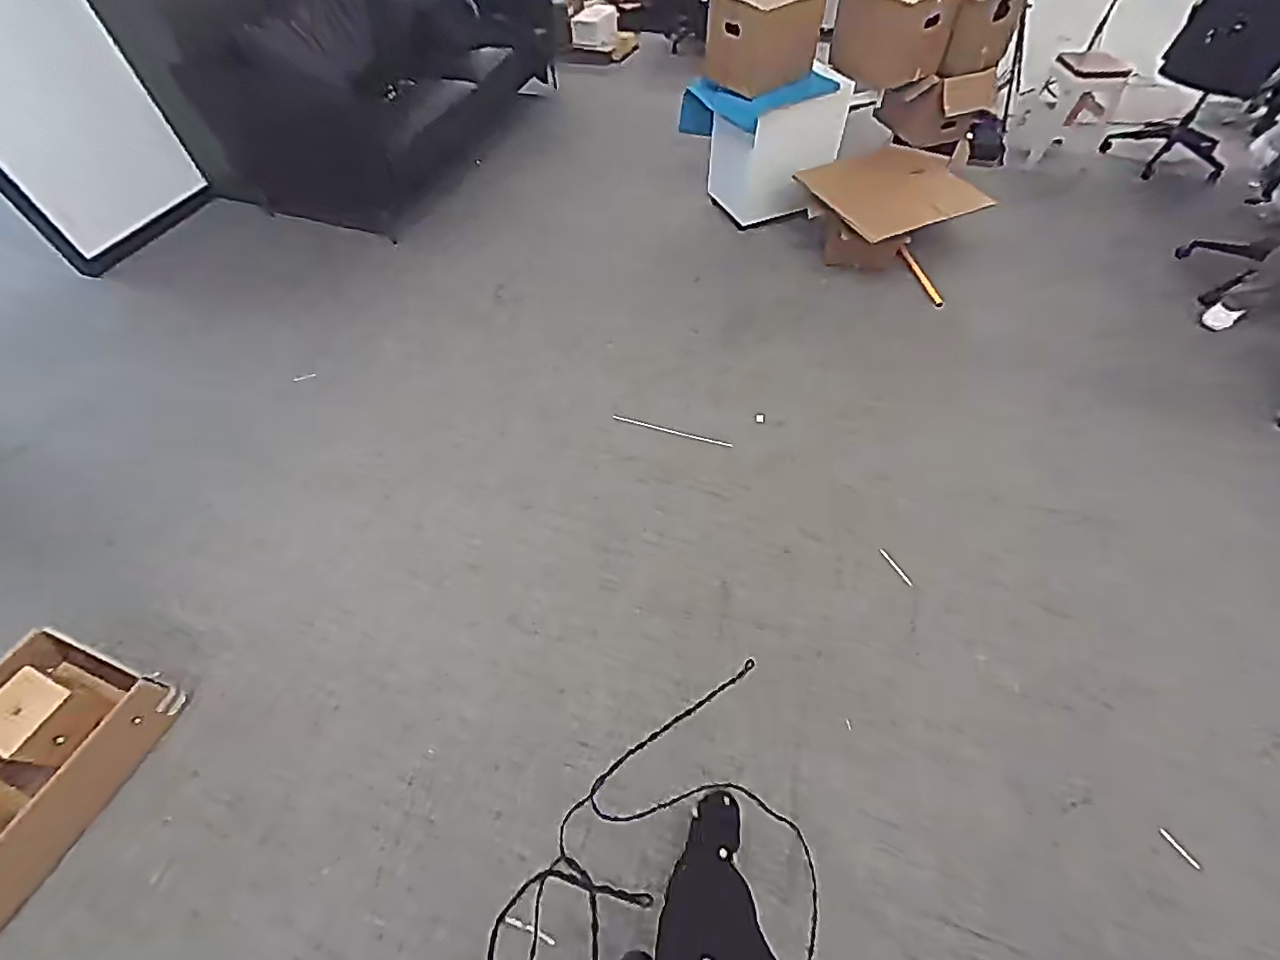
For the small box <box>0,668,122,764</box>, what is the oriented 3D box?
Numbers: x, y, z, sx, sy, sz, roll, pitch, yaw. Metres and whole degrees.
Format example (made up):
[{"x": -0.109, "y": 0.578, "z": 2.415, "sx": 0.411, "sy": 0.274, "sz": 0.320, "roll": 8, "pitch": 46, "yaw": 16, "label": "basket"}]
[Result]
[{"x": -1.521, "y": 0.614, "z": 1.396, "sx": 0.179, "sy": 0.176, "sz": 0.168, "roll": 18, "pitch": 57, "yaw": 14, "label": "small box"}]
